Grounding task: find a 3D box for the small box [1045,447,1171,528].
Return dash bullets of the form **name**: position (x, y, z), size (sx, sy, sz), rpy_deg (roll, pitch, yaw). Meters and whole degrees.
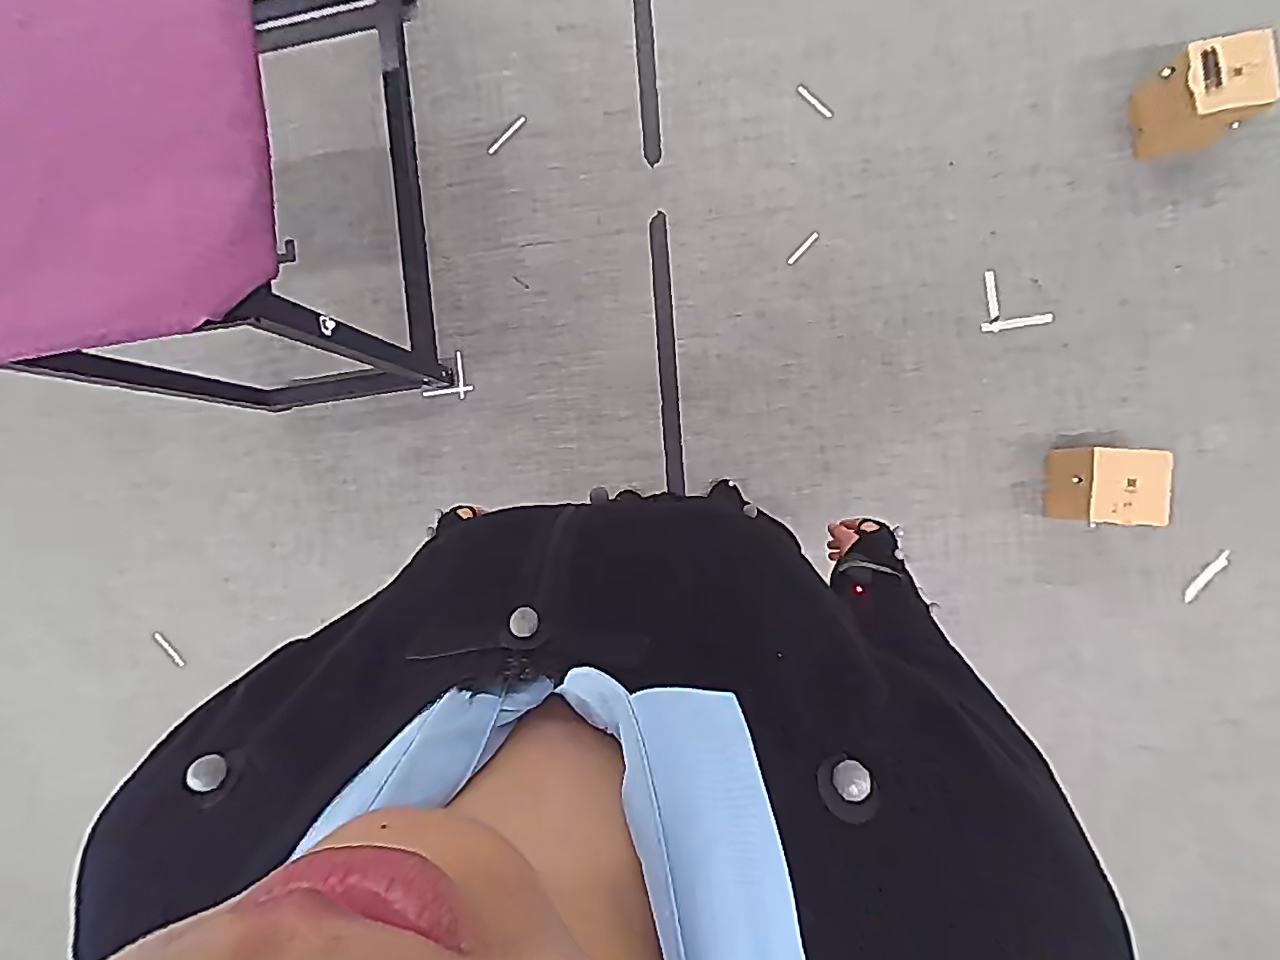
- **small box**: position (1.123, 0.018, 1.310), size (0.168, 0.176, 0.179), rpy_deg (4, 91, 7)
